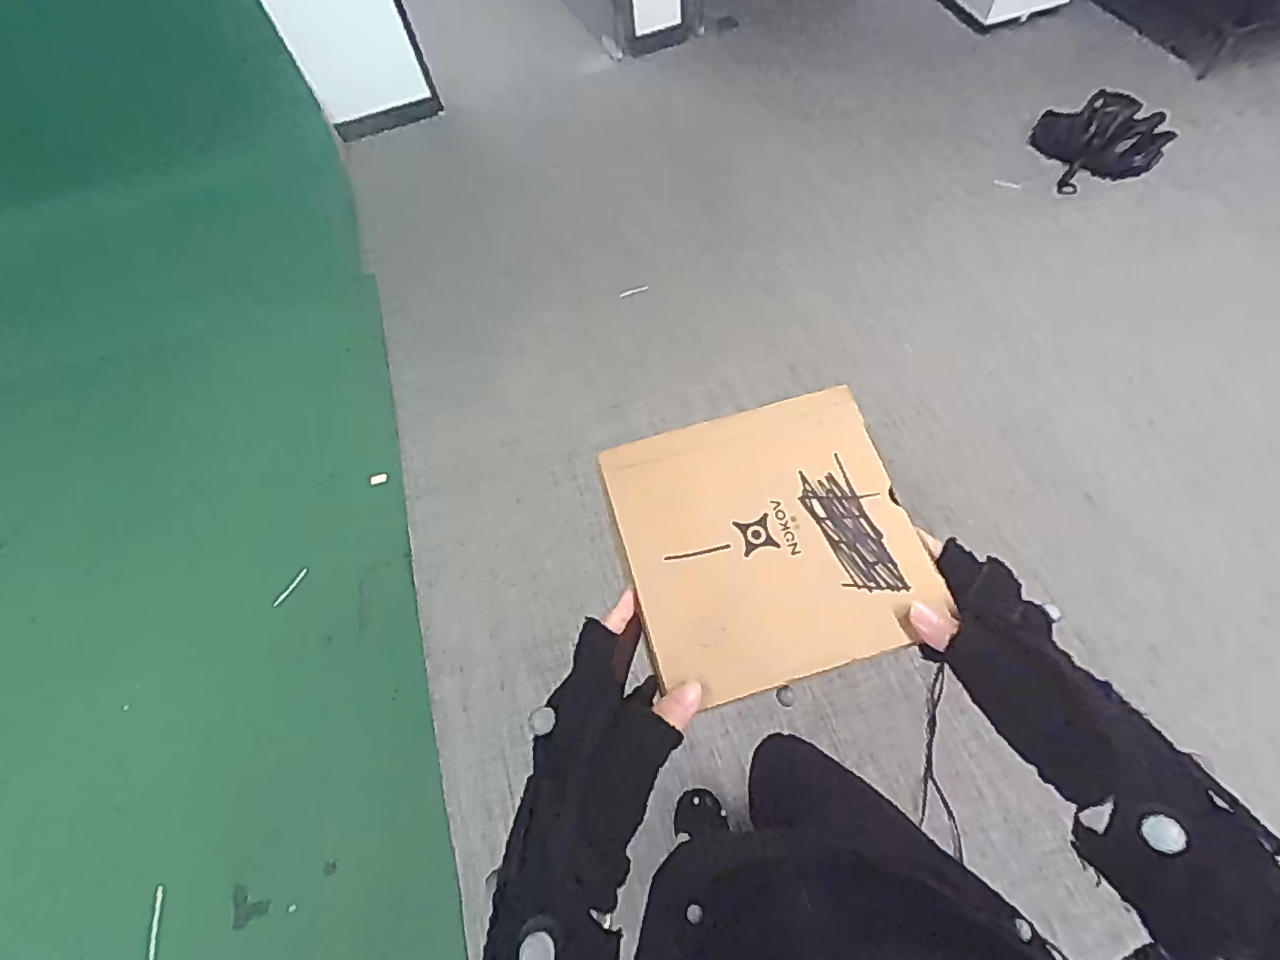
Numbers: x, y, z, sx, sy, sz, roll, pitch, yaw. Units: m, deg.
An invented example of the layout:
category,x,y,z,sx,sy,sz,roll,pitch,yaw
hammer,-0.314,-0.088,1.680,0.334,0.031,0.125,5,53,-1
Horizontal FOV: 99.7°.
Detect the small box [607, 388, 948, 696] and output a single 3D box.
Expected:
category,x,y,z,sx,sy,sz,roll,pitch,yaw
small box,0.078,0.057,0.407,0.179,0.176,0.168,-13,67,-4
